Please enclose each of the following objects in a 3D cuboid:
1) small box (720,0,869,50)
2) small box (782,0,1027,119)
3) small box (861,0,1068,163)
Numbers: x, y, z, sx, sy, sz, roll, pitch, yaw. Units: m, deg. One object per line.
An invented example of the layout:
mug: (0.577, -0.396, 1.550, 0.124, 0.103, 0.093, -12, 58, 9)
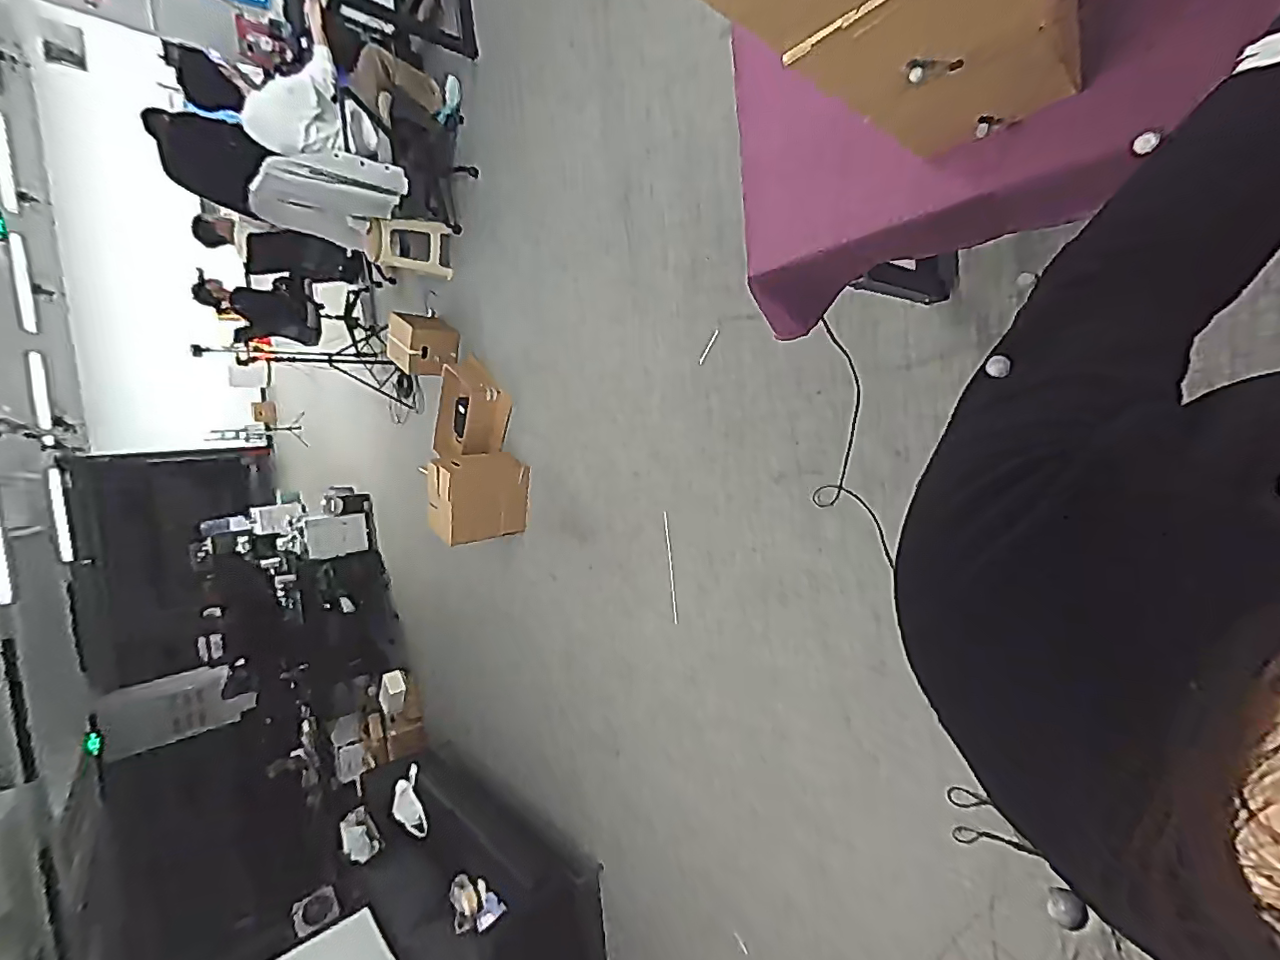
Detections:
small box: (0.129, -0.475, 0.399, 0.179, 0.176, 0.168, 2, 98, 47)
small box: (0.248, -0.492, 0.512, 0.168, 0.176, 0.179, 0, 97, 49)
small box: (0.371, -0.504, 0.622, 0.179, 0.176, 0.168, -2, 94, 48)
